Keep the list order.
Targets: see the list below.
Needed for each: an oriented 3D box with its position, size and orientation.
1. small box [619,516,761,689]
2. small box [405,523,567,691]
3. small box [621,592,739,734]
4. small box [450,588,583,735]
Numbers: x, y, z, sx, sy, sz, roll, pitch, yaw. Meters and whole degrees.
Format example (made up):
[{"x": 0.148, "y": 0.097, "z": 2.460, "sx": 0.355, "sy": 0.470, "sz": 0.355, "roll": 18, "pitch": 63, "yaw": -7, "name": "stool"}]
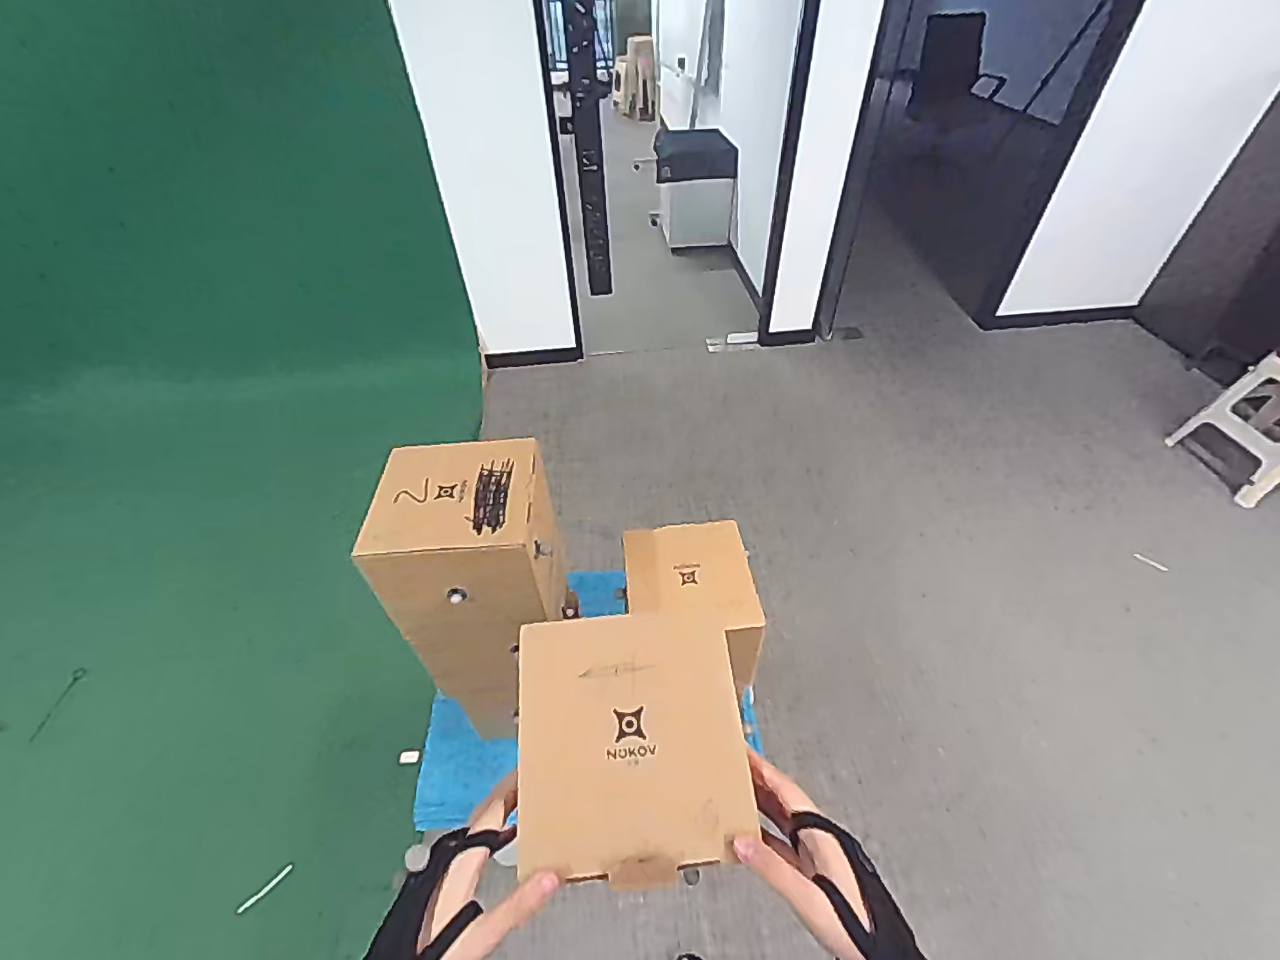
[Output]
[{"x": 0.062, "y": 0.176, "z": 0.757, "sx": 0.168, "sy": 0.176, "sz": 0.179, "roll": -5, "pitch": 43, "yaw": -3, "name": "small box"}, {"x": -0.198, "y": 0.179, "z": 0.758, "sx": 0.179, "sy": 0.176, "sz": 0.168, "roll": -4, "pitch": 44, "yaw": -2, "name": "small box"}, {"x": 0.058, "y": 0.293, "z": 0.870, "sx": 0.168, "sy": 0.176, "sz": 0.179, "roll": -3, "pitch": 45, "yaw": -2, "name": "small box"}, {"x": -0.186, "y": 0.295, "z": 0.875, "sx": 0.179, "sy": 0.176, "sz": 0.168, "roll": -4, "pitch": 44, "yaw": -2, "name": "small box"}]
